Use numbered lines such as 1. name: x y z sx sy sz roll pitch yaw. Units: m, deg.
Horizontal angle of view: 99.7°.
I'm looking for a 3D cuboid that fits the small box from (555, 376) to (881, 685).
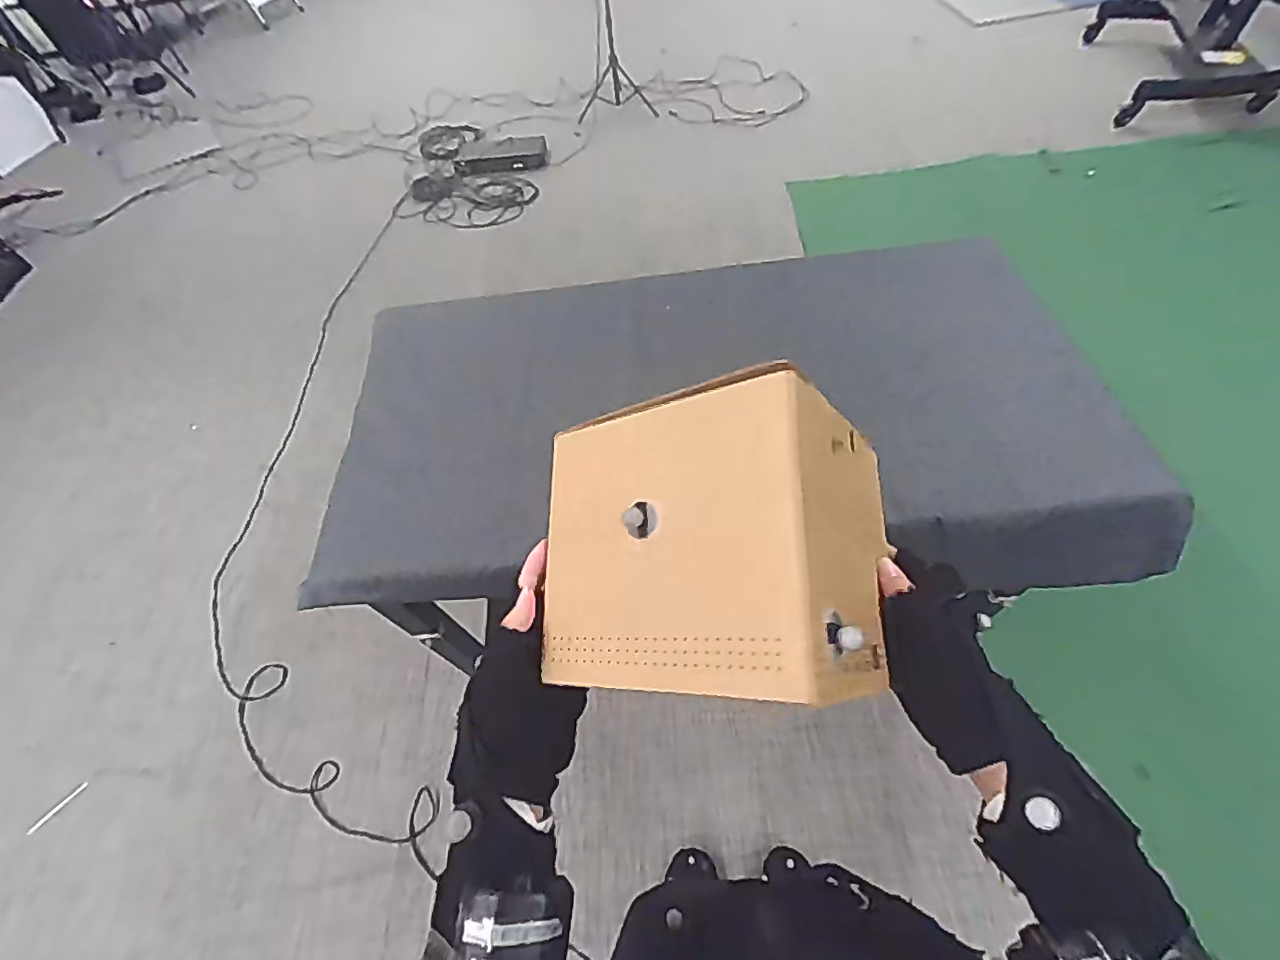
1. small box: 0.058 0.052 0.386 0.179 0.168 0.176 -12 68 34
